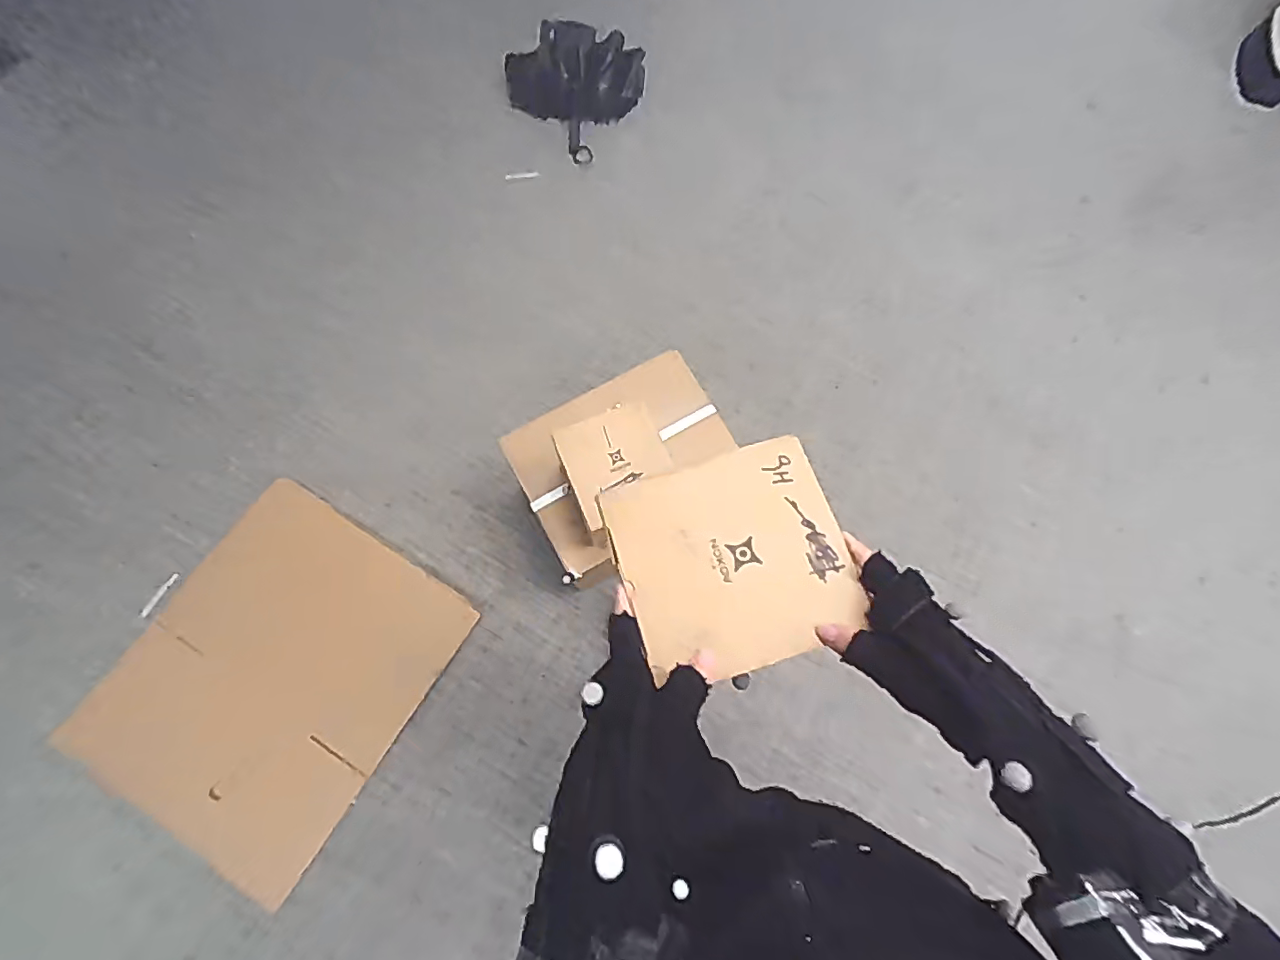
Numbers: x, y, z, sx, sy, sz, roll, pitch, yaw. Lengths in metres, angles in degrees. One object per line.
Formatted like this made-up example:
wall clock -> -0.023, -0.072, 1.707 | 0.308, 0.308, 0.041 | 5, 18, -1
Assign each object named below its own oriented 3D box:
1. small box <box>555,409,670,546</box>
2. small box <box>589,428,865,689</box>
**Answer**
small box -> -0.035, 0.007, 0.946 | 0.168, 0.176, 0.179 | -22, 76, -8
small box -> 0.069, 0.084, 0.502 | 0.179, 0.176, 0.168 | -19, 67, -6
